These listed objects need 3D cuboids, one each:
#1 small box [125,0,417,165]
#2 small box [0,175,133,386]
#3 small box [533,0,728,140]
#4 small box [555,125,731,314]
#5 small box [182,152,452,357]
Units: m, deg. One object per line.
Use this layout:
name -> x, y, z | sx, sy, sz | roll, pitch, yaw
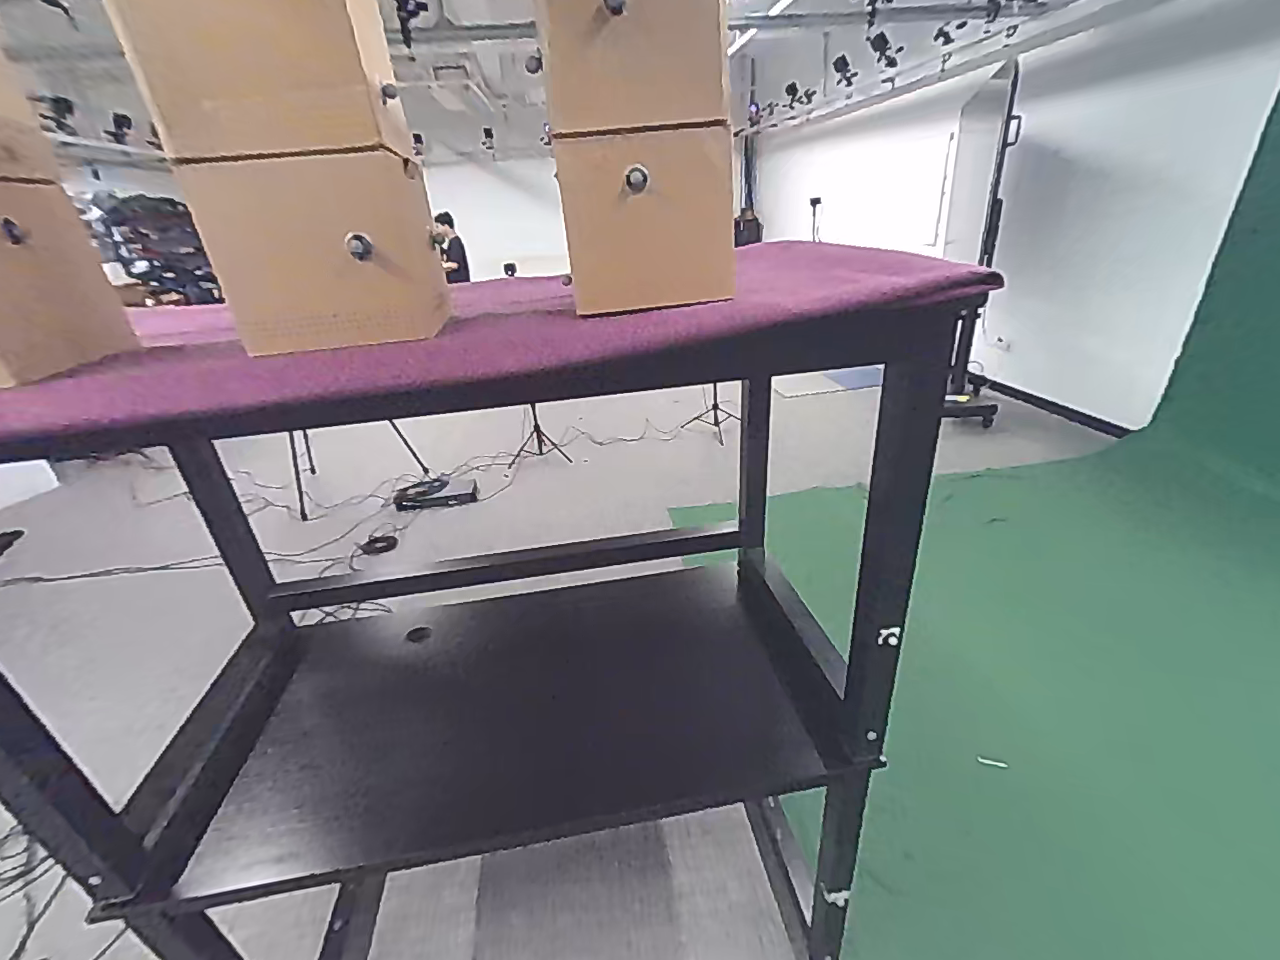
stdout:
small box -> -0.329, -0.383, 0.502 | 0.179, 0.176, 0.168 | -9, 26, -9
small box -> -0.643, -0.183, 0.506 | 0.168, 0.176, 0.179 | -7, 27, -9
small box -> -0.014, -0.443, 0.564 | 0.179, 0.176, 0.168 | -8, 25, -4
small box -> 0.002, -0.293, 0.631 | 0.179, 0.176, 0.168 | -7, 24, -5
small box -> -0.311, -0.237, 0.573 | 0.179, 0.176, 0.168 | -9, 26, -7
